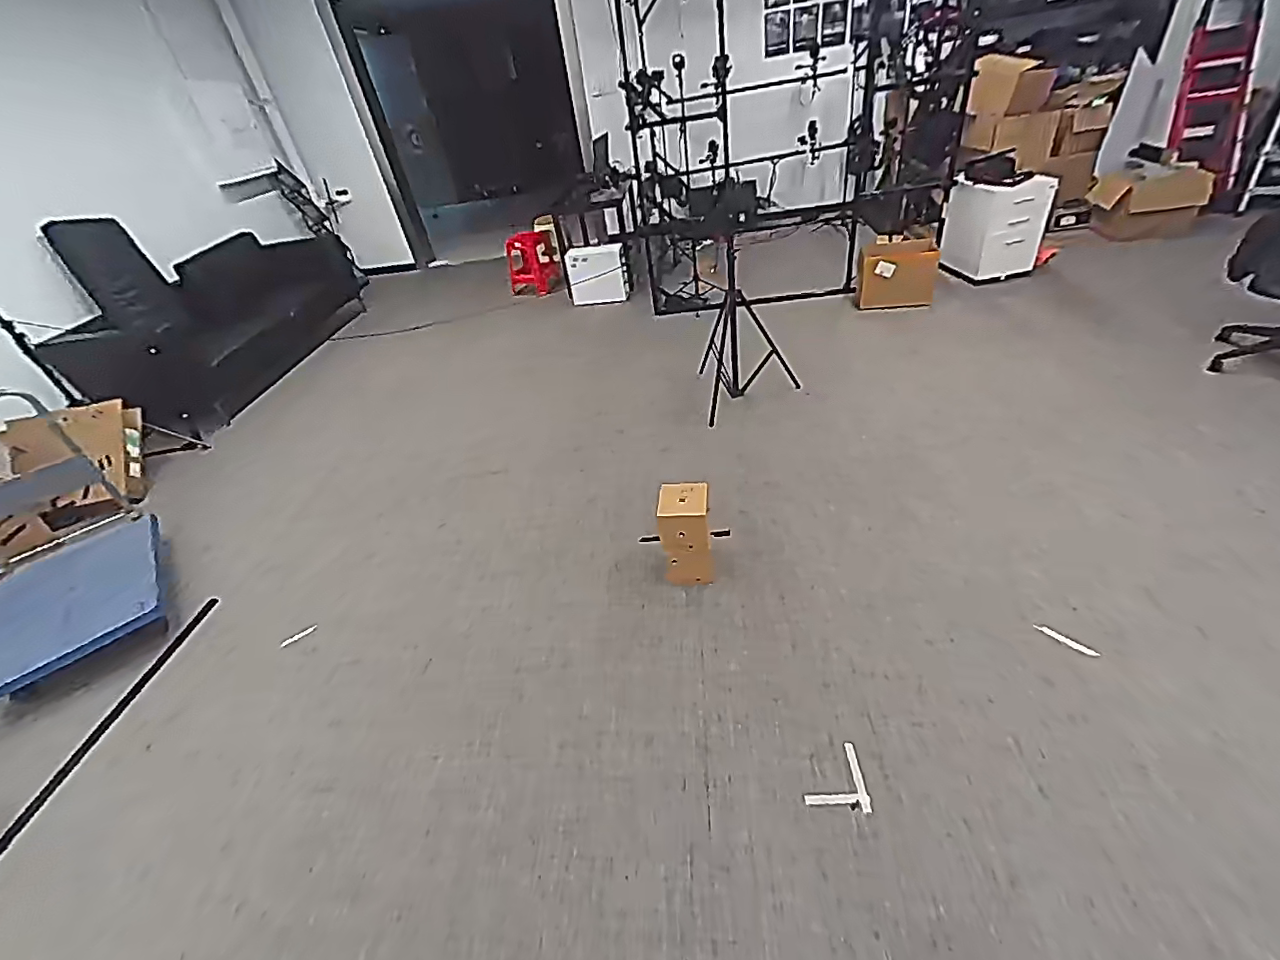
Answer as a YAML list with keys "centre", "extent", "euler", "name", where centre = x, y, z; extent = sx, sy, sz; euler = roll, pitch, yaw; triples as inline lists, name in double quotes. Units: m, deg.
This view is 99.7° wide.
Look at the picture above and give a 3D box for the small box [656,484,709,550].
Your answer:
- centre: [0.156, 0.133, 1.904]
  extent: [0.168, 0.176, 0.179]
  euler: [-2, 37, 11]
  name: "small box"
